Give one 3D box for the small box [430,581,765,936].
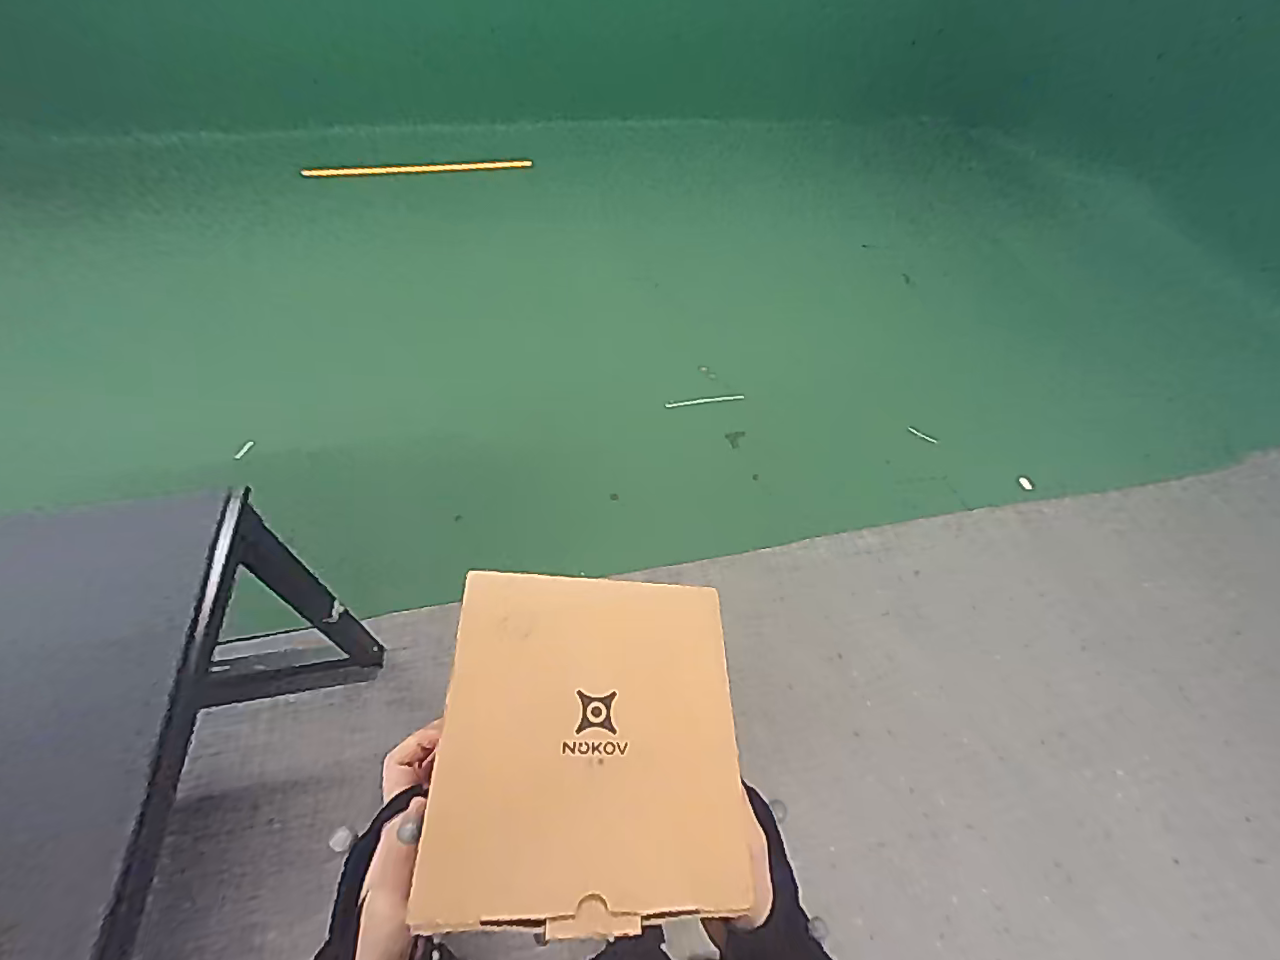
[{"bbox_3d":[-0.037,0.190,0.367,0.168,0.176,0.179,7,53,-12],"label":"small box"}]
